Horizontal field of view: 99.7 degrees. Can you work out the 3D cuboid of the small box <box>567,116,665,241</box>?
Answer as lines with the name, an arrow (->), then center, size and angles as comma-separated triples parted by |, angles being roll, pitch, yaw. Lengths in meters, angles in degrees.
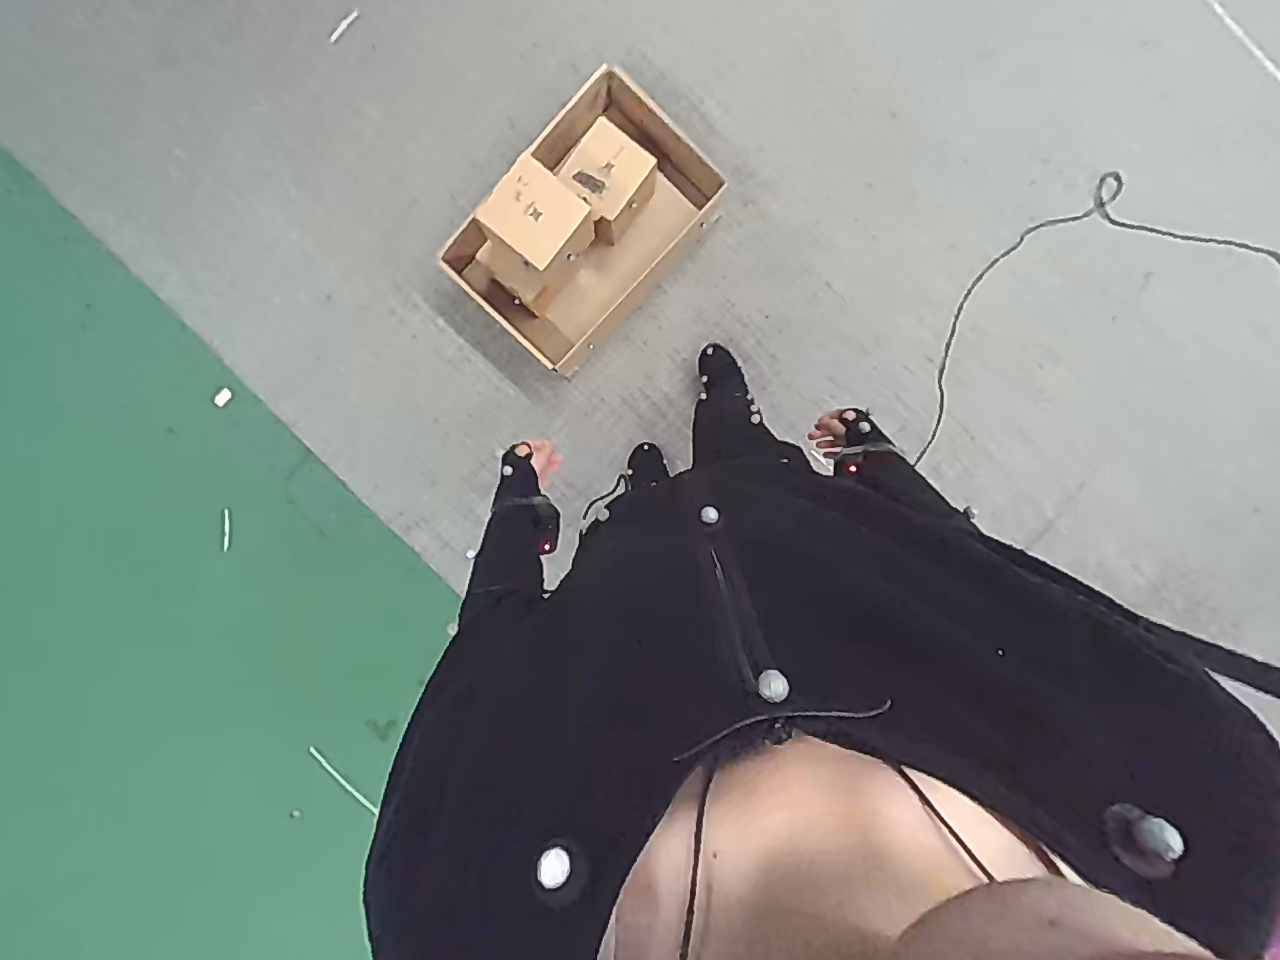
small box -> -0.052, -0.722, 1.323 | 0.168, 0.176, 0.179 | 37, 95, -2

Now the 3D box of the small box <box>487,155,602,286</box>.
small box -> -0.197, -0.549, 1.179 | 0.179, 0.176, 0.168 | 39, 92, -3

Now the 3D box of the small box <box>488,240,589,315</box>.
small box -> -0.242, -0.539, 1.343 | 0.168, 0.176, 0.179 | 40, 93, -4
